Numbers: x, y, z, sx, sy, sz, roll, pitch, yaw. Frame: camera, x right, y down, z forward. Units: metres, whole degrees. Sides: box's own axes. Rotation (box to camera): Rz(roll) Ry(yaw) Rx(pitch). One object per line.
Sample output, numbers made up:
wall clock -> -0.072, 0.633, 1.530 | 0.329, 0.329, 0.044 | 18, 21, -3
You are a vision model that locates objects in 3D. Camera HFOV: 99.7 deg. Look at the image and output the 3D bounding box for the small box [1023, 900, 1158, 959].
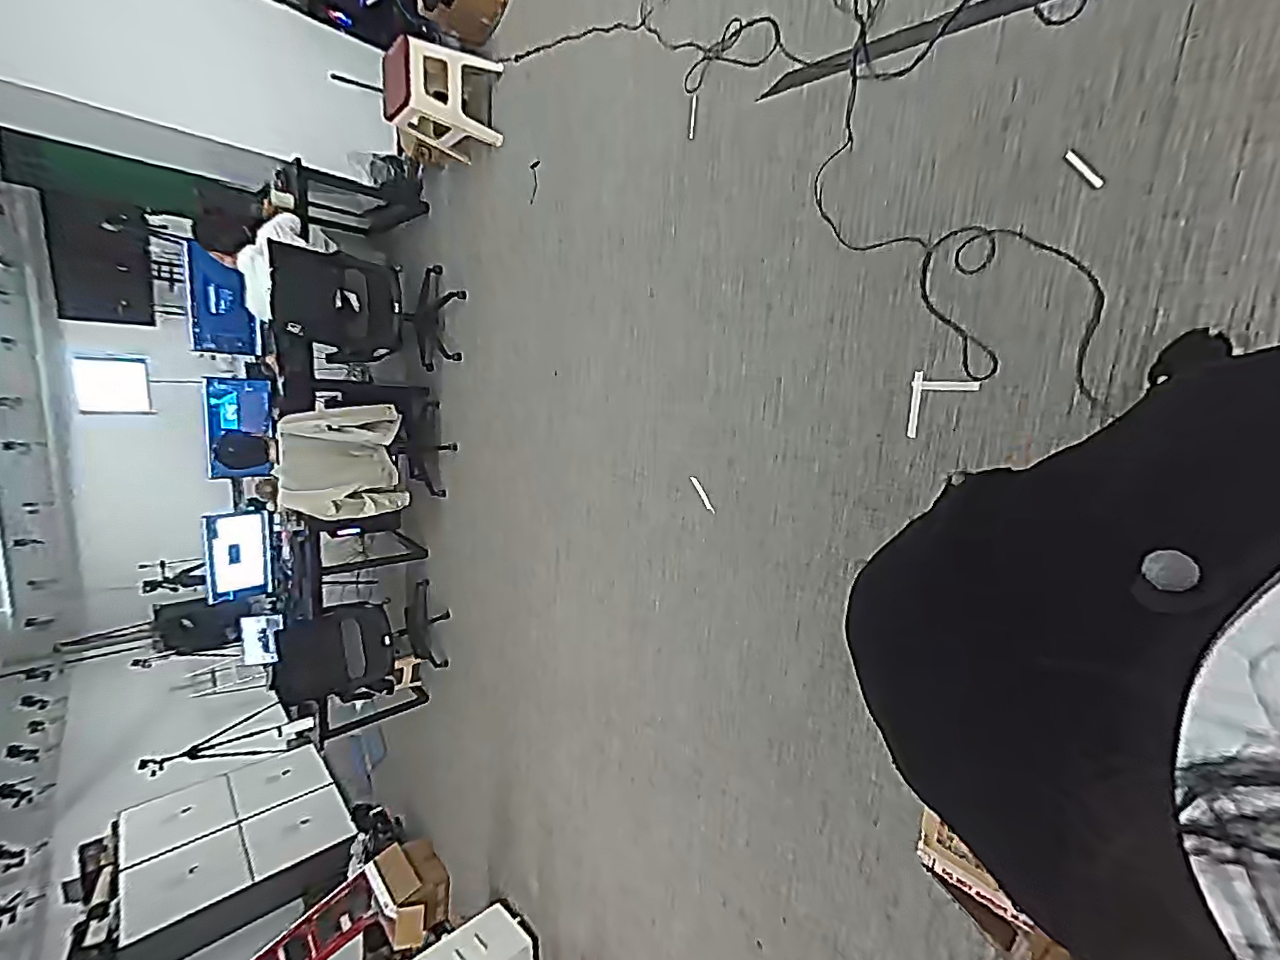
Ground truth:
small box -> 0.554, 0.677, 0.651 | 0.168, 0.176, 0.179 | 13, 101, 43
